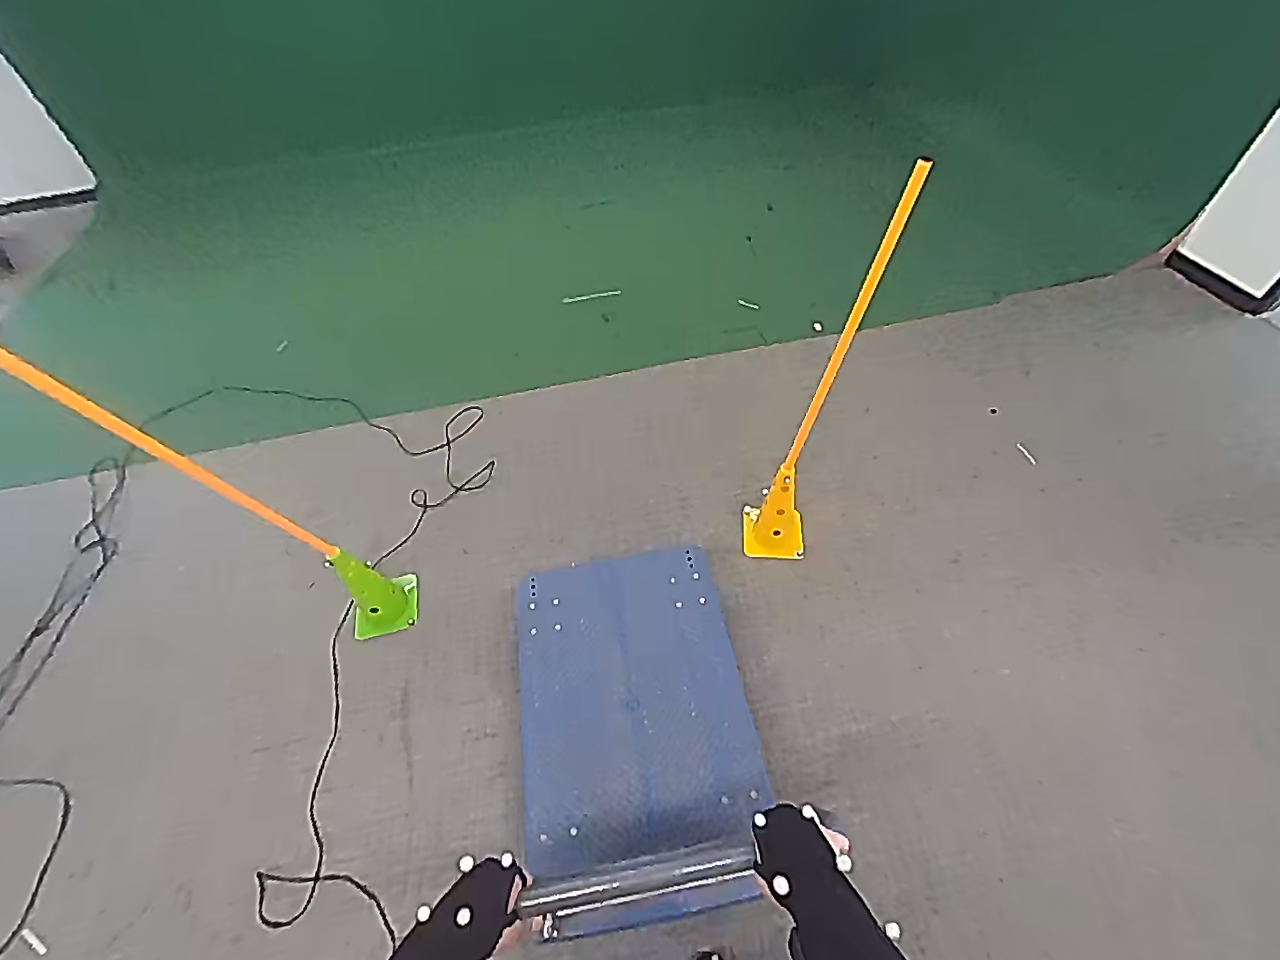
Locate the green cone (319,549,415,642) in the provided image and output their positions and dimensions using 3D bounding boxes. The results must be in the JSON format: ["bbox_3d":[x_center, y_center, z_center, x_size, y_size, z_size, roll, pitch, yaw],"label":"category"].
[{"bbox_3d":[-0.864,0.317,1.662,0.202,0.368,0.200,-15,51,-5],"label":"green cone"}]
